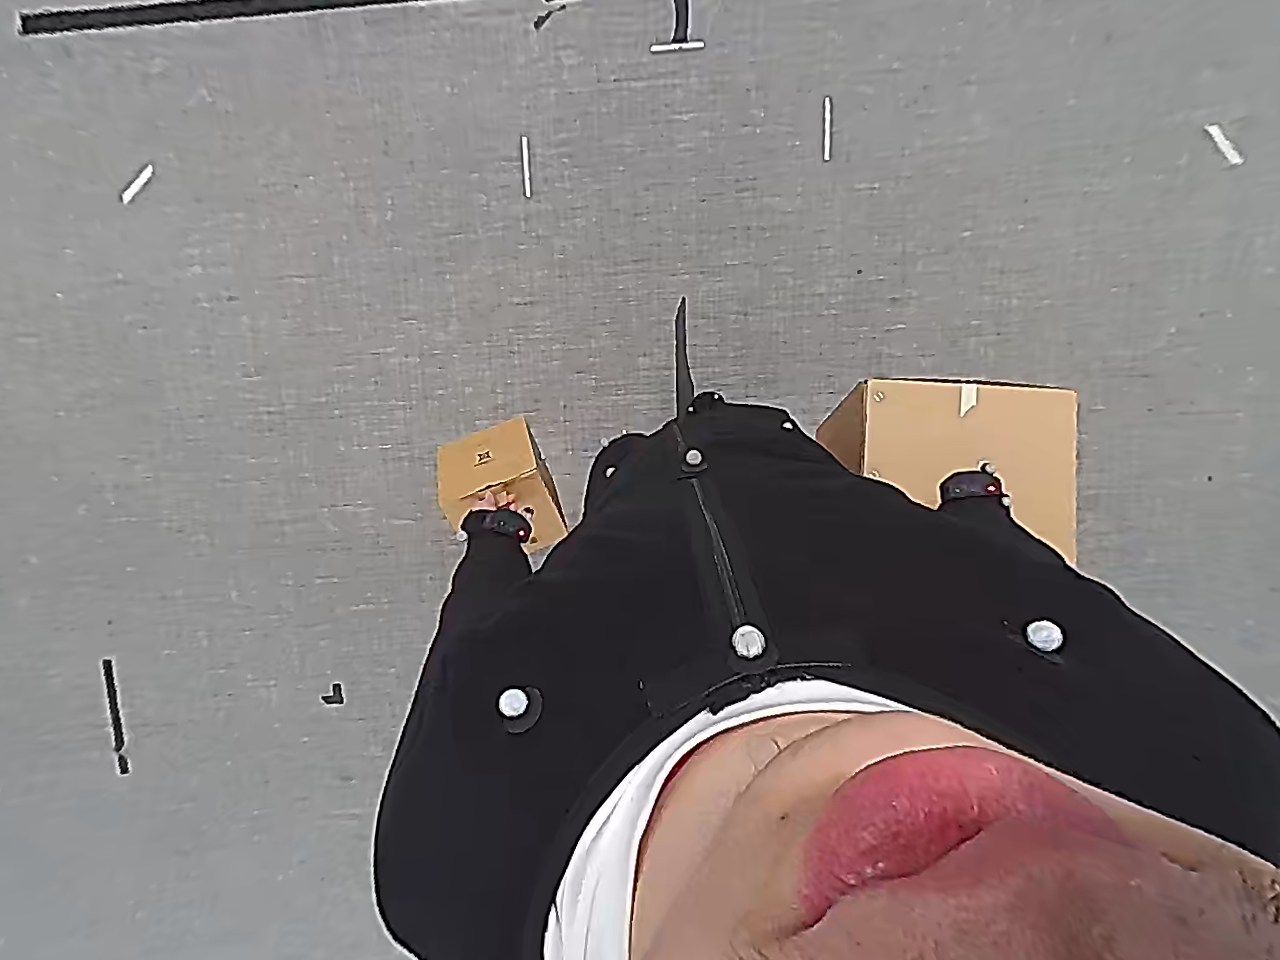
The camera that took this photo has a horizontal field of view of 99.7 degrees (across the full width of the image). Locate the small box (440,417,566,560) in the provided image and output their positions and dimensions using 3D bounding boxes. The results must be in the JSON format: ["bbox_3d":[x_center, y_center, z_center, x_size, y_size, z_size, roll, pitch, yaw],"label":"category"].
[{"bbox_3d":[-0.244,0.021,0.977,0.168,0.179,0.176,-21,131,-5],"label":"small box"}]
